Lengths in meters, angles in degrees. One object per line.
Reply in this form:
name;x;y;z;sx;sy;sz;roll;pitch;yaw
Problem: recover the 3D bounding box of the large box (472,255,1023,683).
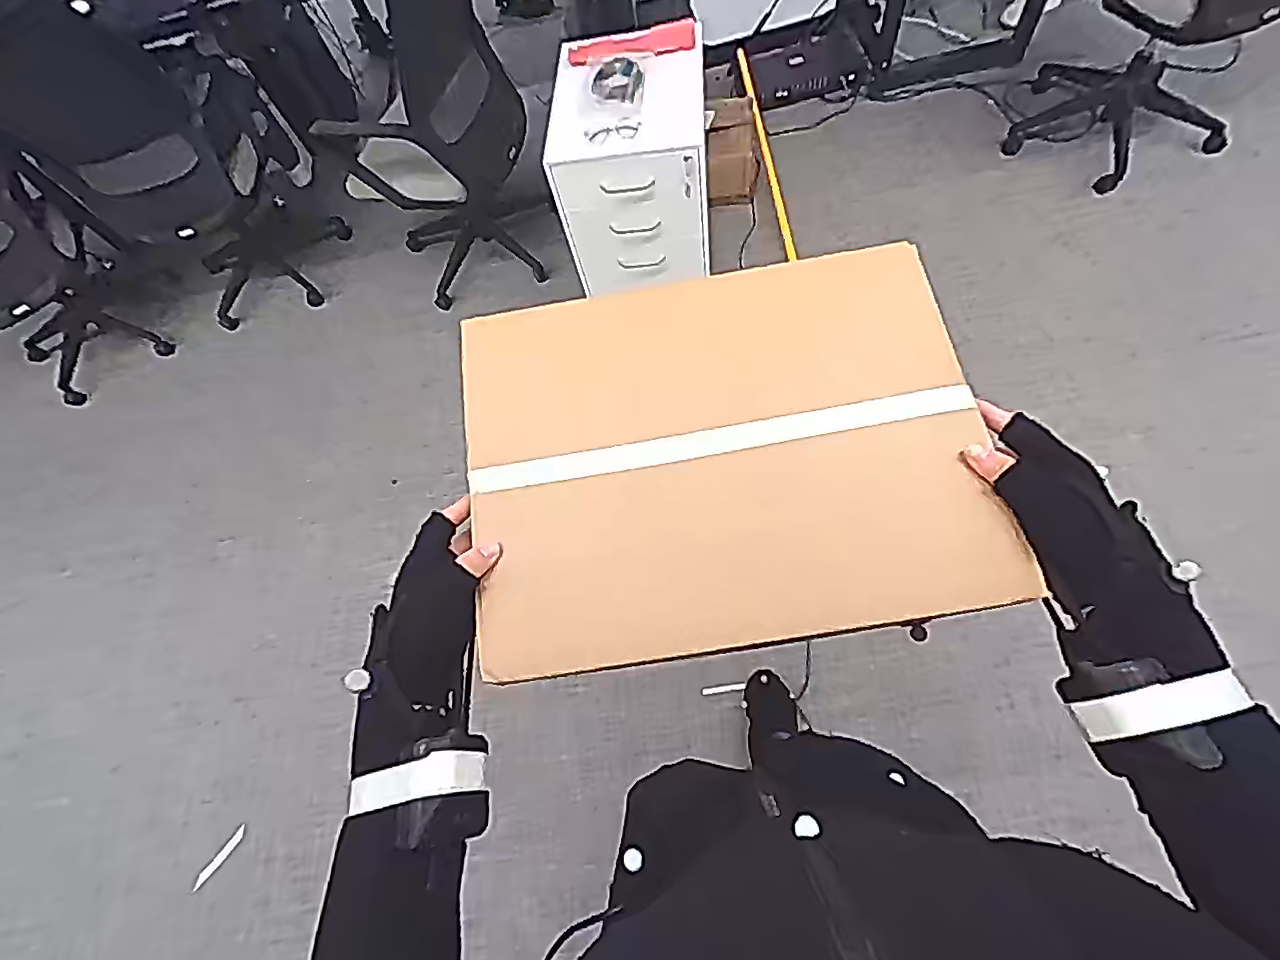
large box;0.077;0.018;0.585;0.408;0.320;0.320;-10;71;2
